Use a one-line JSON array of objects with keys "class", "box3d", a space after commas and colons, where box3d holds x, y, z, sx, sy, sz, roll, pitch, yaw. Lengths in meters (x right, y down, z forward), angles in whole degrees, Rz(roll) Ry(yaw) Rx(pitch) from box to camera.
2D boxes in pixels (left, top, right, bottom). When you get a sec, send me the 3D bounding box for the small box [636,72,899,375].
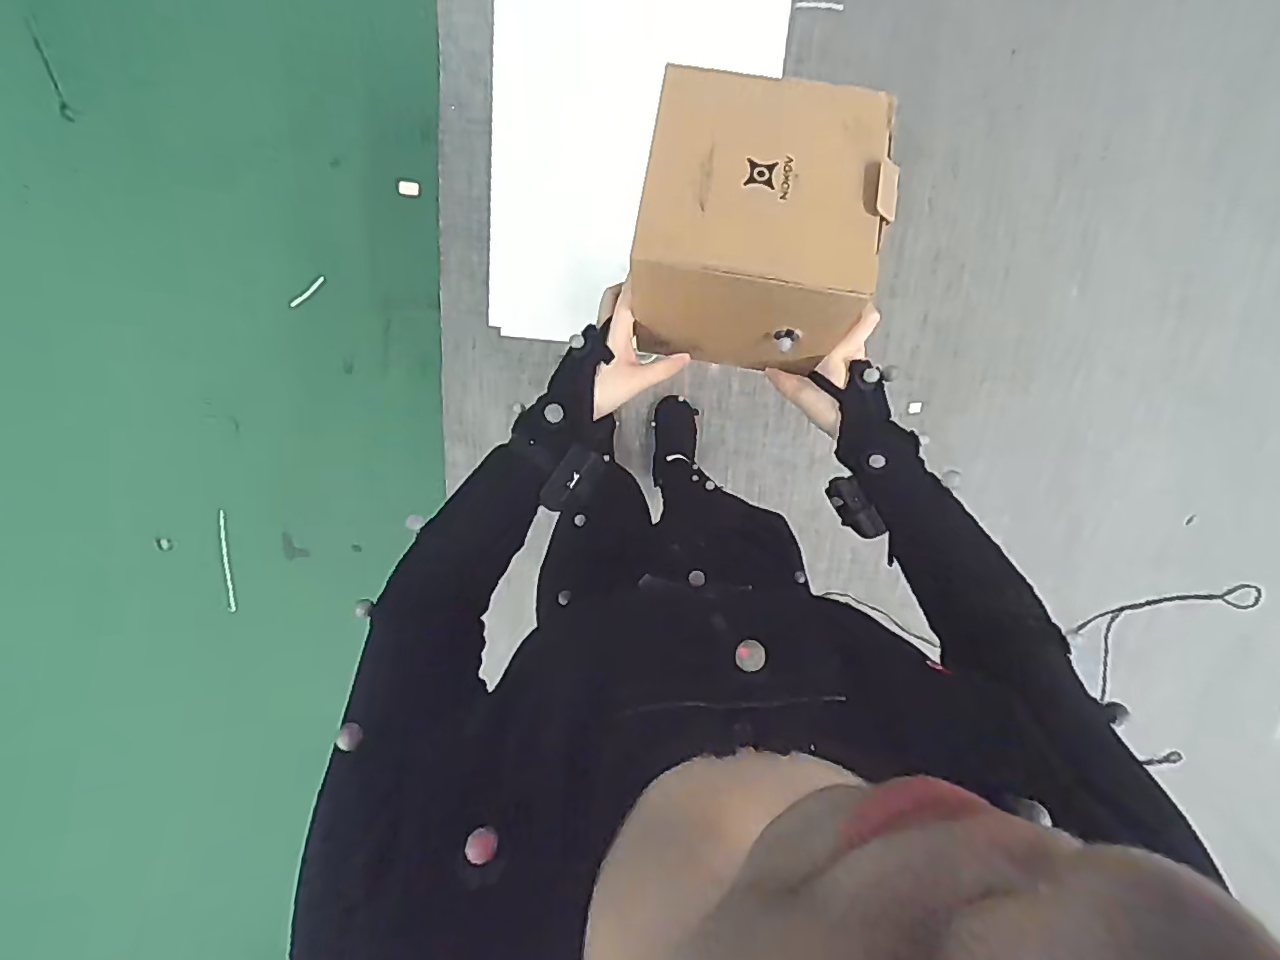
[{"class": "small box", "box3d": [0.097, -0.204, 0.474, 0.179, 0.176, 0.168, 9, 80, 4]}]
